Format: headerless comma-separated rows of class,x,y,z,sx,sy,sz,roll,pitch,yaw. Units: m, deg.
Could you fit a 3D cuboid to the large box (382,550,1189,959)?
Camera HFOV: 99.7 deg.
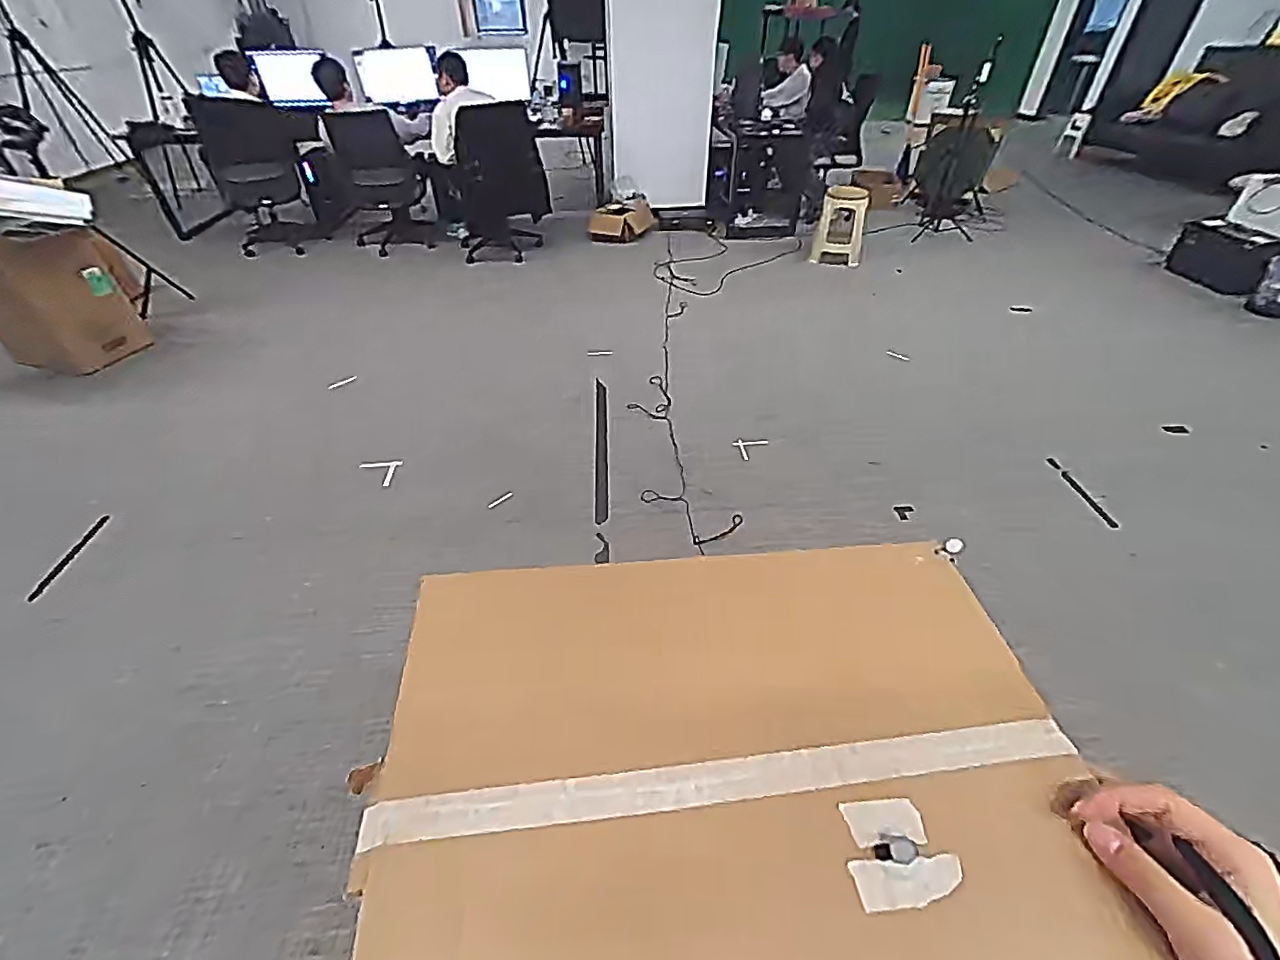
large box,0.055,0.279,0.423,0.408,0.320,0.320,-2,46,-8
